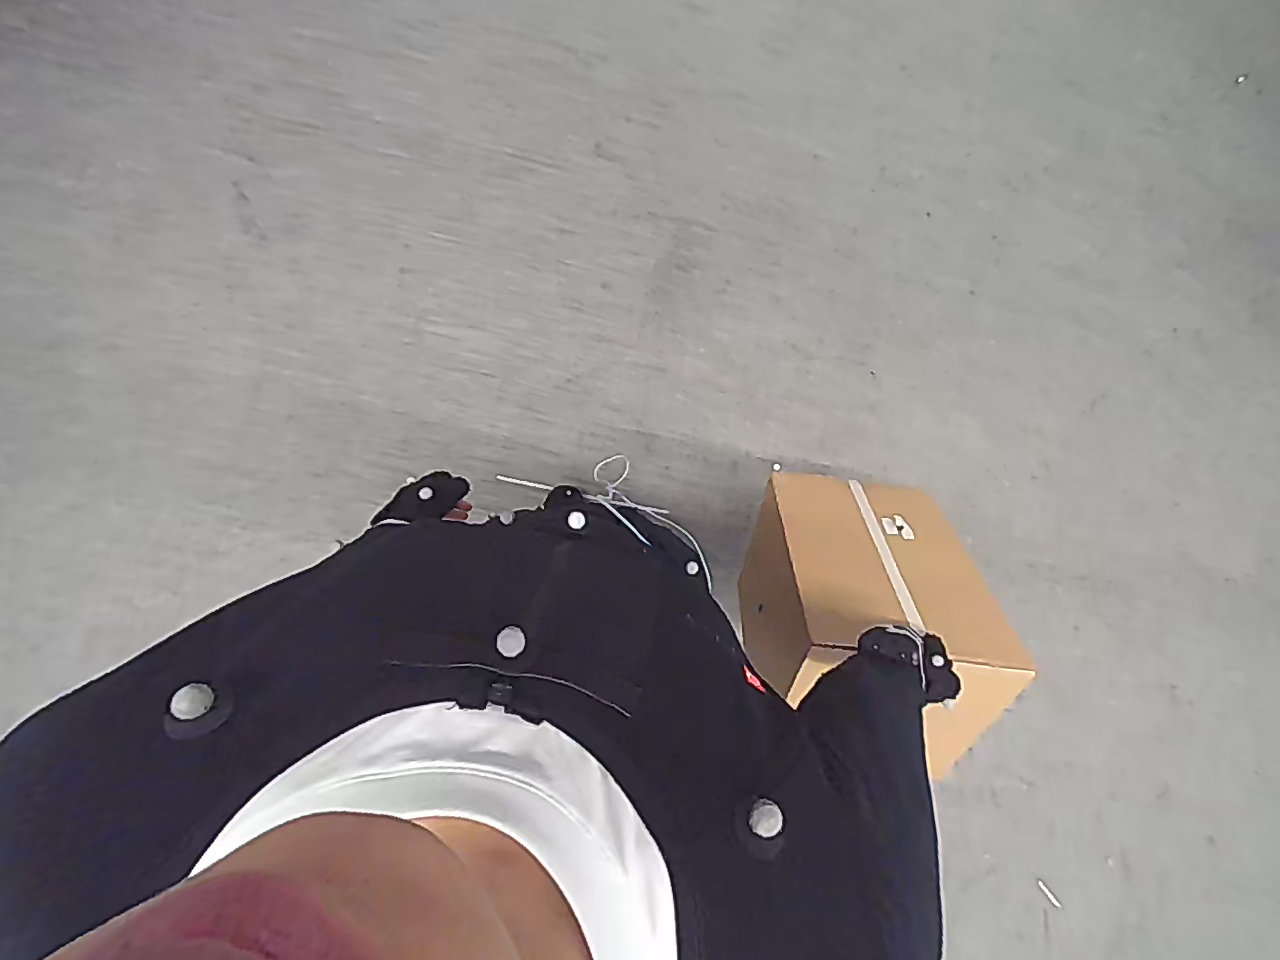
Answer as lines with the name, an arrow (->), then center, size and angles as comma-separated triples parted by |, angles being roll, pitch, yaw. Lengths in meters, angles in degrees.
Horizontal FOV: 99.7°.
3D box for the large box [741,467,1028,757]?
large box -> 0.380, 0.227, 0.985 | 0.320, 0.408, 0.320 | 8, 126, -1
